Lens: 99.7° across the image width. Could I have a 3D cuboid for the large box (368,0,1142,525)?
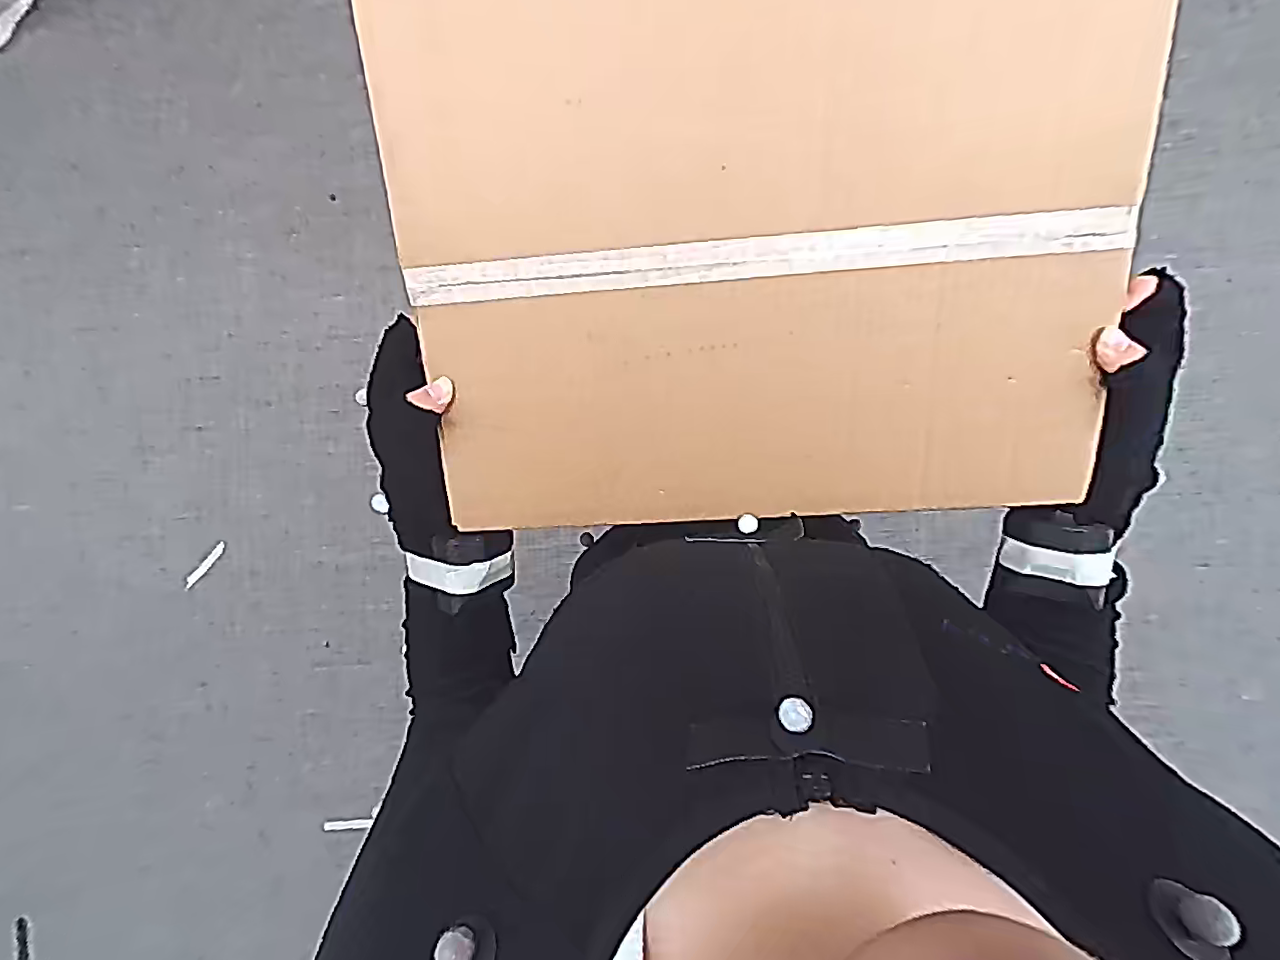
[{"bbox_3d":[0.068,-0.171,0.458,0.408,0.320,0.320,-3,108,4],"label":"large box"}]
